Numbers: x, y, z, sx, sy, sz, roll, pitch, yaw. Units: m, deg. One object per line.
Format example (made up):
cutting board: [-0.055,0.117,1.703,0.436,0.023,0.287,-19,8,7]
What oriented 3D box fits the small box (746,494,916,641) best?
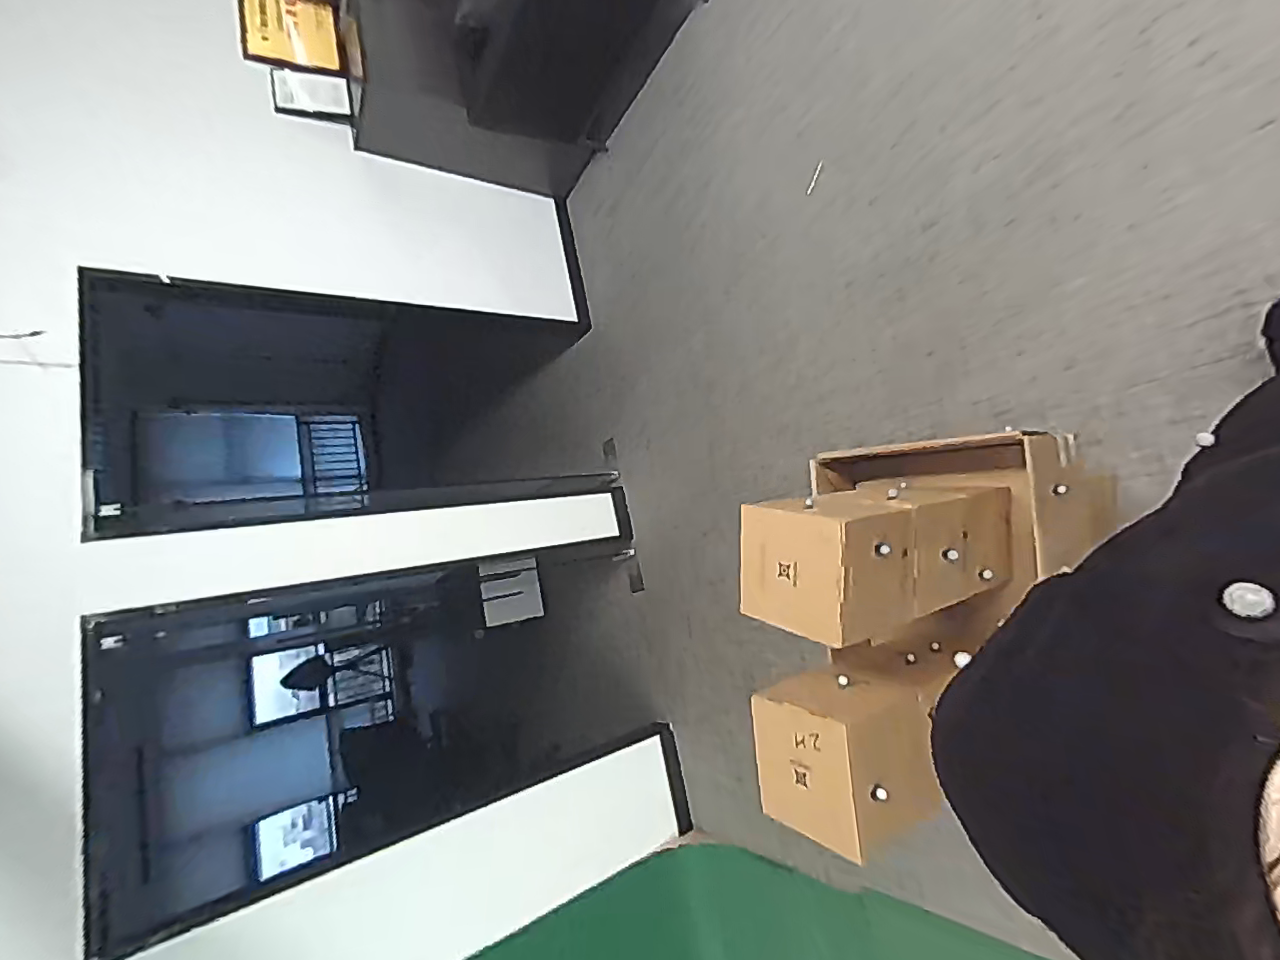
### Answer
small box: [0.276,0.113,0.788,0.179,0.176,0.168,8,100,56]

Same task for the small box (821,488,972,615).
small box: [0.412,0.103,0.879,0.179,0.176,0.168,5,98,55]

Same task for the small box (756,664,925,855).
small box: [0.294,0.390,0.791,0.168,0.176,0.179,-8,85,55]

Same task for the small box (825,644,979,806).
small box: [0.429,0.384,0.886,0.168,0.176,0.179,-8,85,56]
